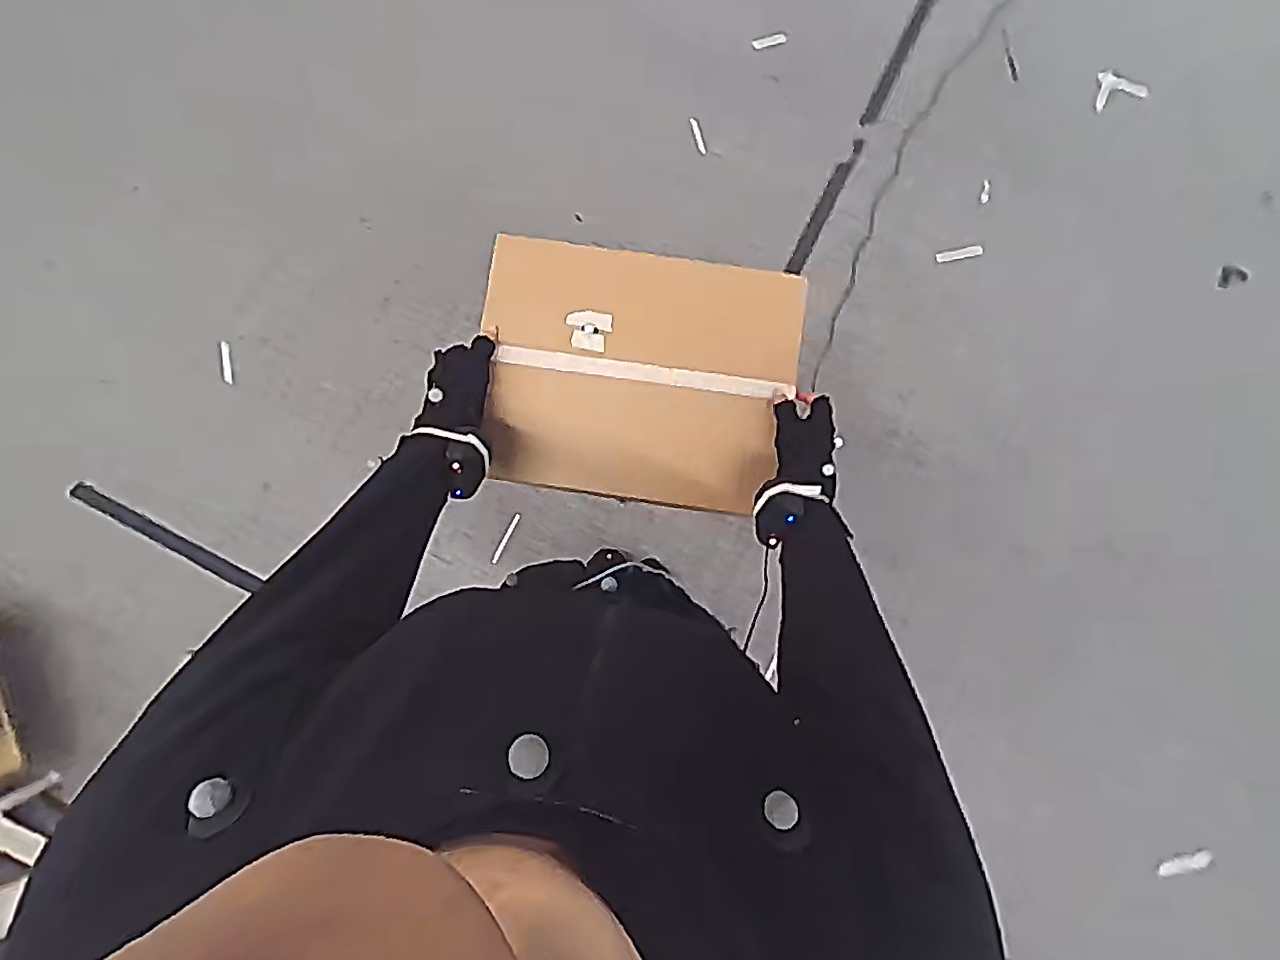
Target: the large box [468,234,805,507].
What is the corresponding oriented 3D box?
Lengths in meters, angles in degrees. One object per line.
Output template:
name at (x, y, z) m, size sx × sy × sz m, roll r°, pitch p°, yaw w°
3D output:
large box at (0.000, -0.137, 0.840) m, size 0.408 × 0.320 × 0.320 m, roll 9°, pitch 87°, yaw 1°
